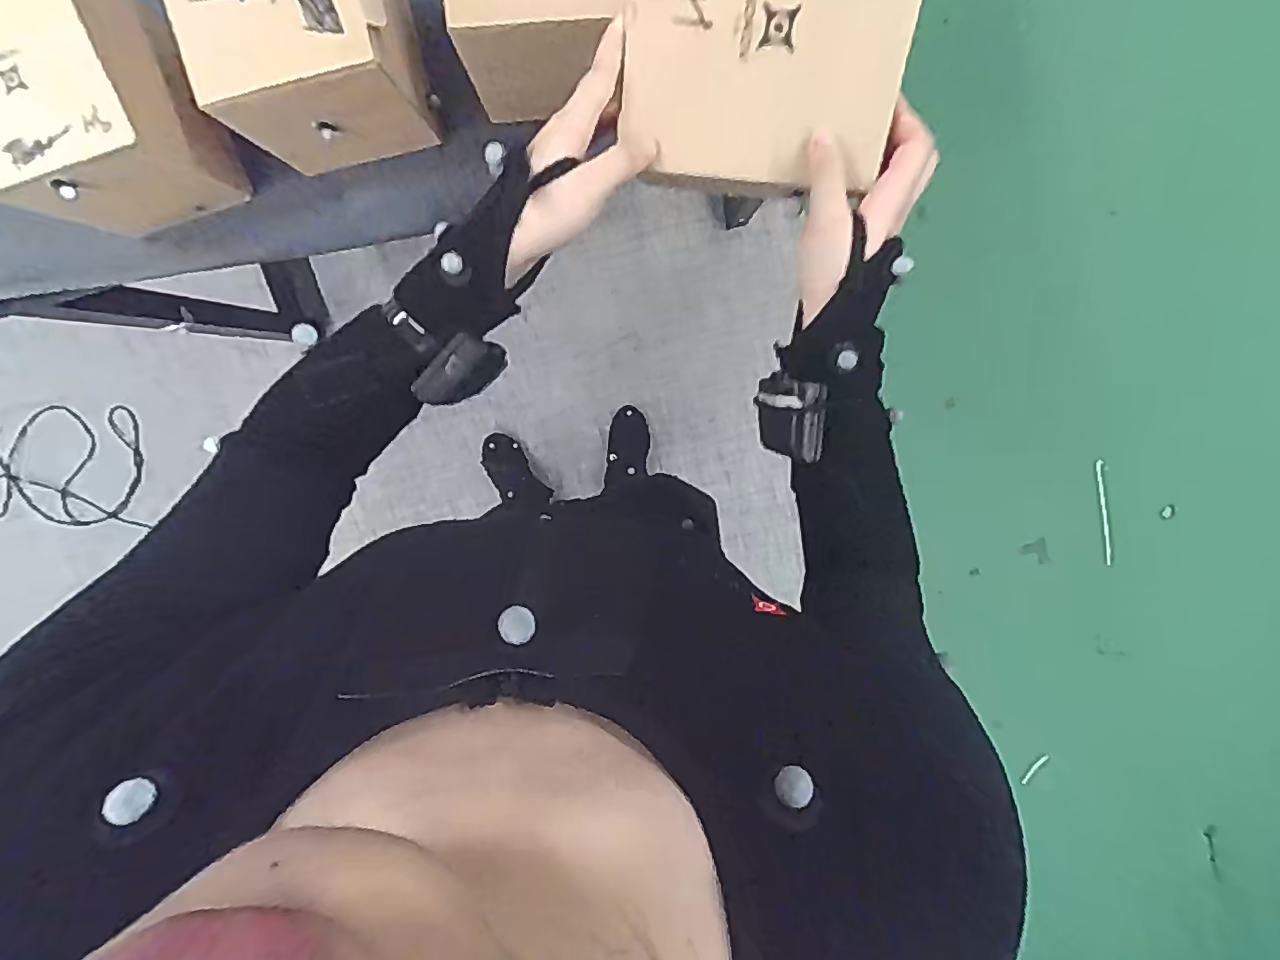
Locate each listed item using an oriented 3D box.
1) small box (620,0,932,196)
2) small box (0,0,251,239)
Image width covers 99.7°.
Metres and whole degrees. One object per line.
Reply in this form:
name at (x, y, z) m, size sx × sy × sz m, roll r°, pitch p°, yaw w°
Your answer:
small box at (0.091, -0.308, 0.392) m, size 0.179 × 0.176 × 0.168 m, roll 9°, pitch 116°, yaw 6°
small box at (-0.568, -0.382, 0.568) m, size 0.168 × 0.176 × 0.179 m, roll -16°, pitch 100°, yaw 3°
